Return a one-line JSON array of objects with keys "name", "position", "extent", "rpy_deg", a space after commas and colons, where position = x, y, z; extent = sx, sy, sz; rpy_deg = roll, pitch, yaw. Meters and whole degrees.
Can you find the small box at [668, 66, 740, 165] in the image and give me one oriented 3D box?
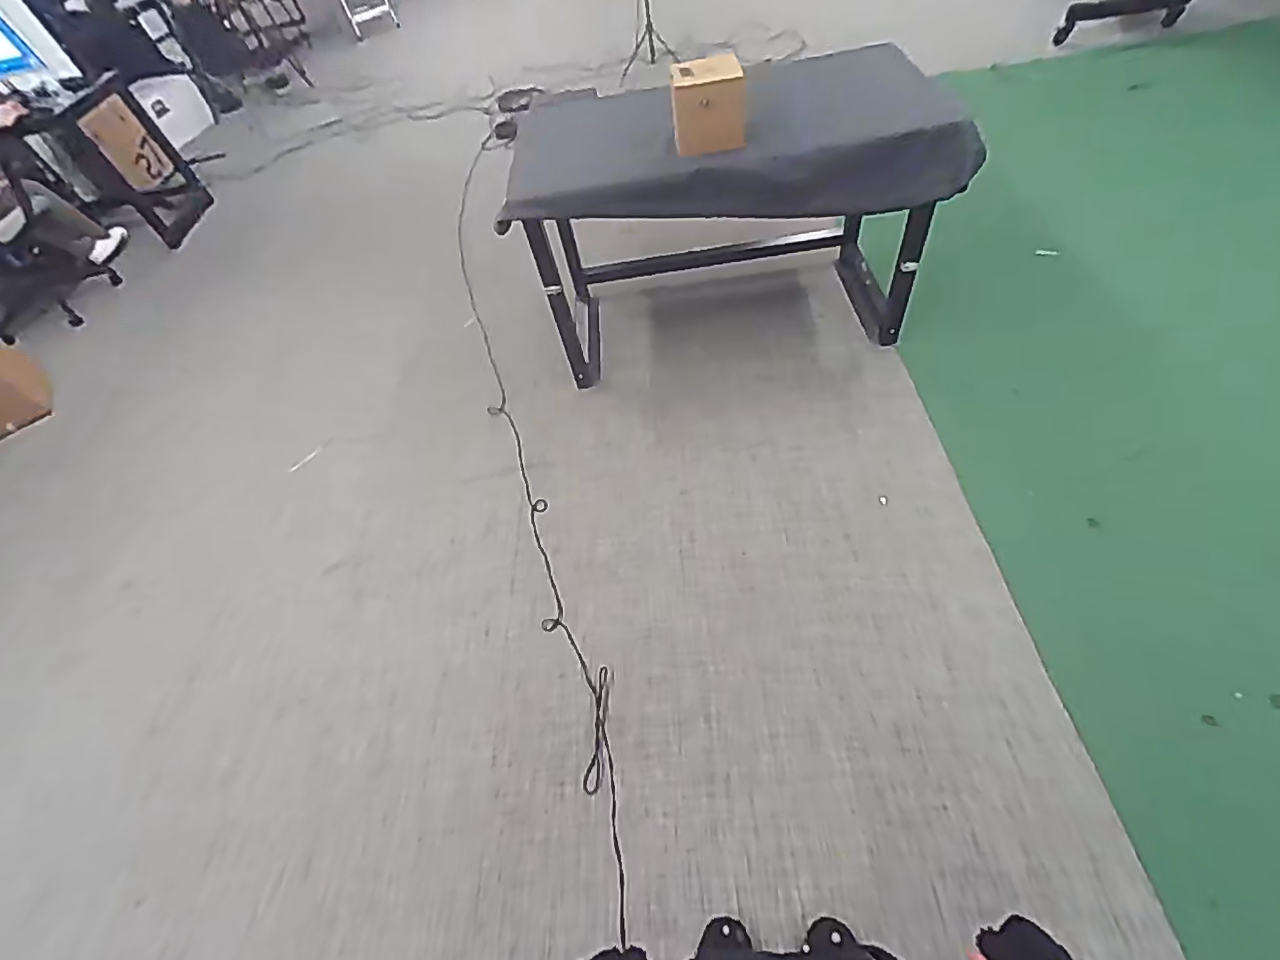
[{"name": "small box", "position": [0.174, -0.977, 1.457], "extent": [0.179, 0.176, 0.168], "rpy_deg": [-6, 54, 5]}]
